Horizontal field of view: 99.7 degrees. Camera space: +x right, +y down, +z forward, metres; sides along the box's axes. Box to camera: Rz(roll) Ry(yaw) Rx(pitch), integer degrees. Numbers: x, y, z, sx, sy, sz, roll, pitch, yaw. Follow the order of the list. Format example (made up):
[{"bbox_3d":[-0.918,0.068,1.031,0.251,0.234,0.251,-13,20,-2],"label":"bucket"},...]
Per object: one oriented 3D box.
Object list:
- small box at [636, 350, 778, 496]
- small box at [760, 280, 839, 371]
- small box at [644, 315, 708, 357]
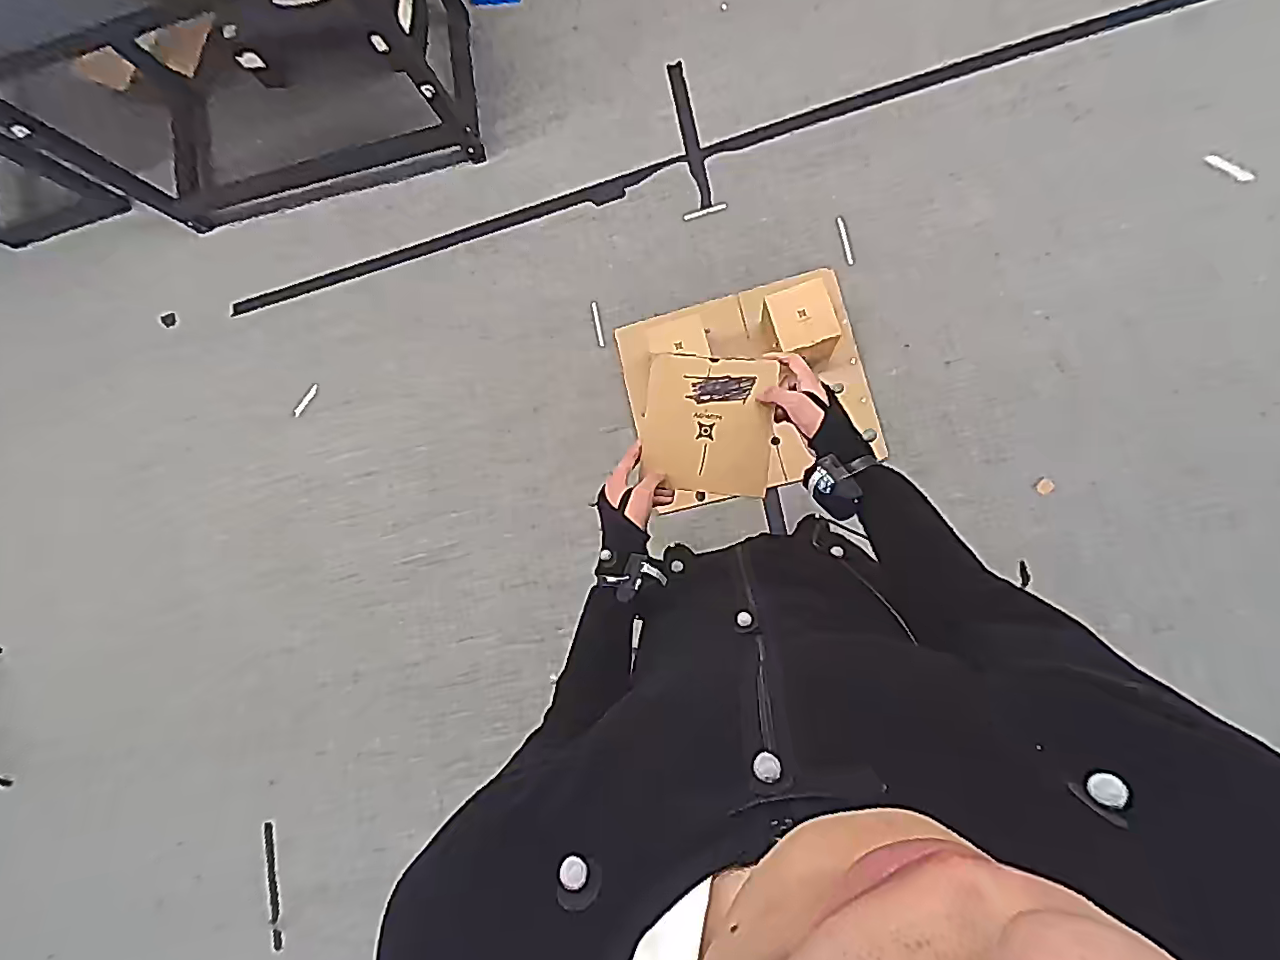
[{"bbox_3d":[0.096,-0.074,0.764,0.168,0.176,0.179,6,92,10],"label":"small box"},{"bbox_3d":[0.451,-0.437,1.557,0.168,0.176,0.179,-18,82,8],"label":"small box"},{"bbox_3d":[0.119,-0.357,1.600,0.168,0.176,0.179,-14,84,9],"label":"small box"}]
